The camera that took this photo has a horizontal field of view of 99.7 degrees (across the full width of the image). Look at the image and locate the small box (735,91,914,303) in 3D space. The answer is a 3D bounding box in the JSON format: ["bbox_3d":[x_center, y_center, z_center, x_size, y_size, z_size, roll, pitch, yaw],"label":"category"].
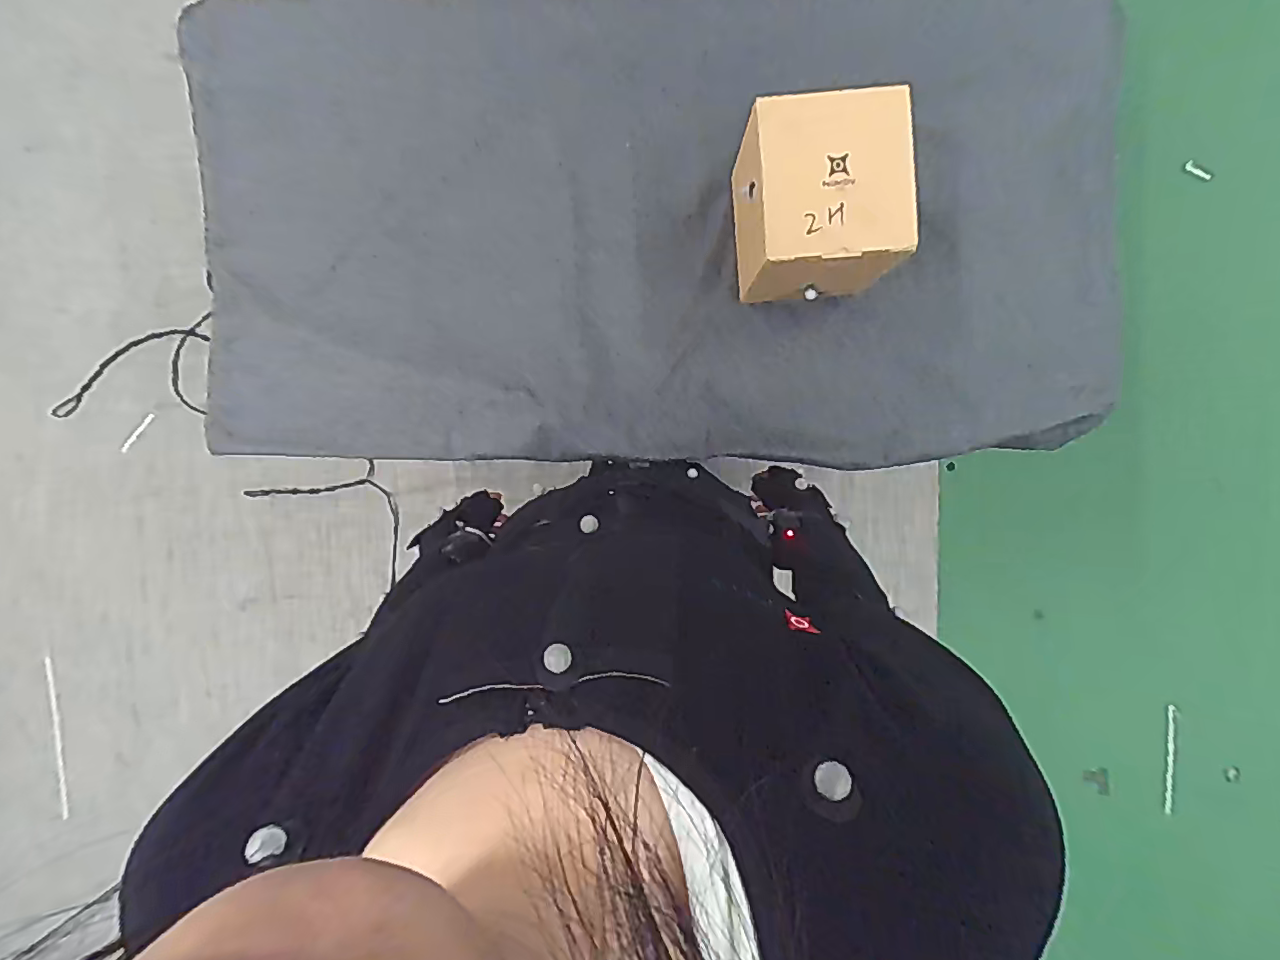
[{"bbox_3d":[0.214,-0.334,0.669,0.168,0.176,0.179,-4,93,2],"label":"small box"}]
